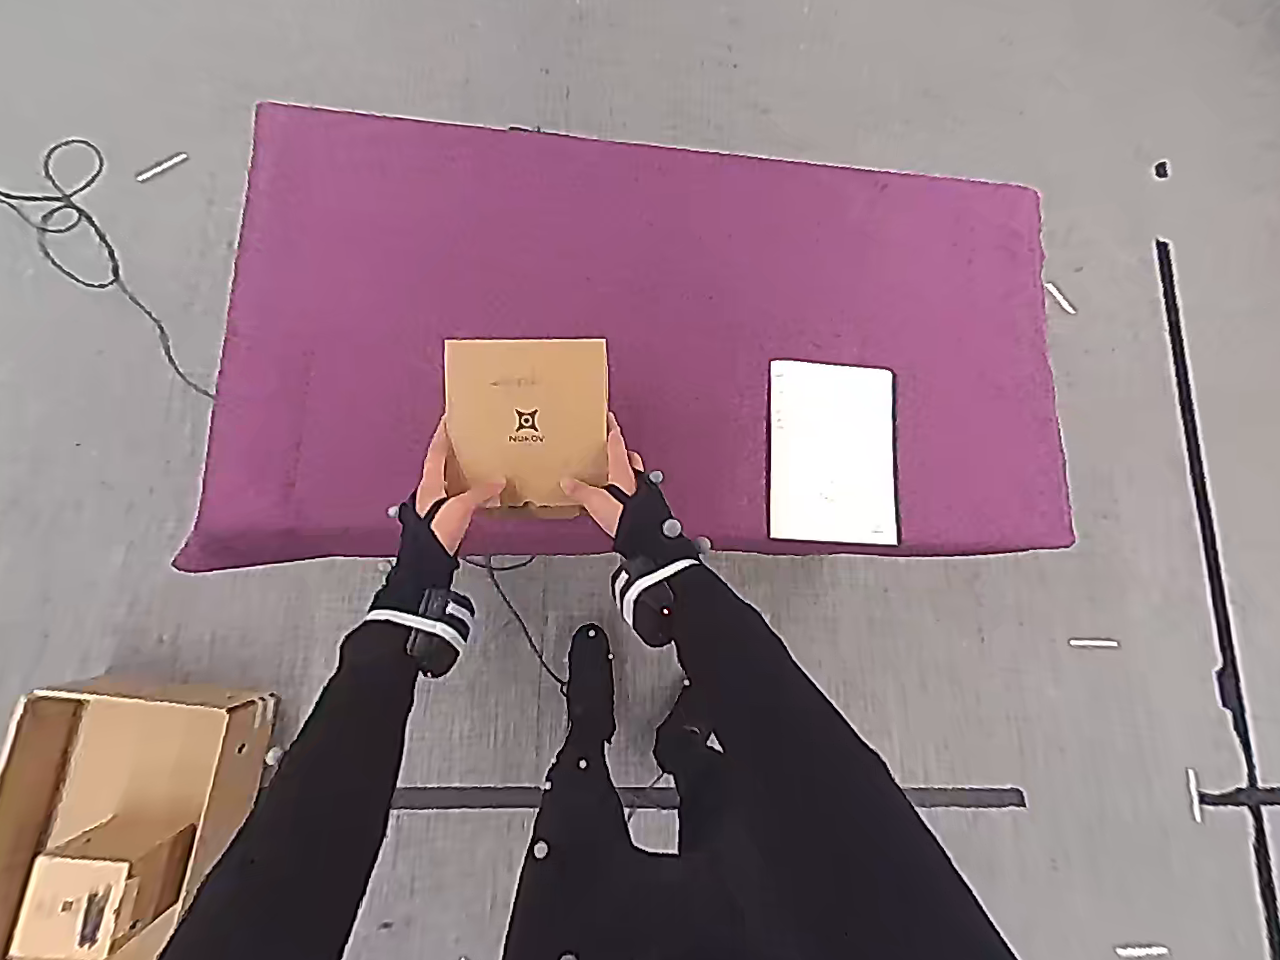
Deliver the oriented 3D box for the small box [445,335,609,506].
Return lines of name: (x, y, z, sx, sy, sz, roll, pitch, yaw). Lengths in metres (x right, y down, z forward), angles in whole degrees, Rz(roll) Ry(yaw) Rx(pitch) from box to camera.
small box: (-0.121, -0.065, 0.637, 0.168, 0.176, 0.179, 0, 92, -3)
